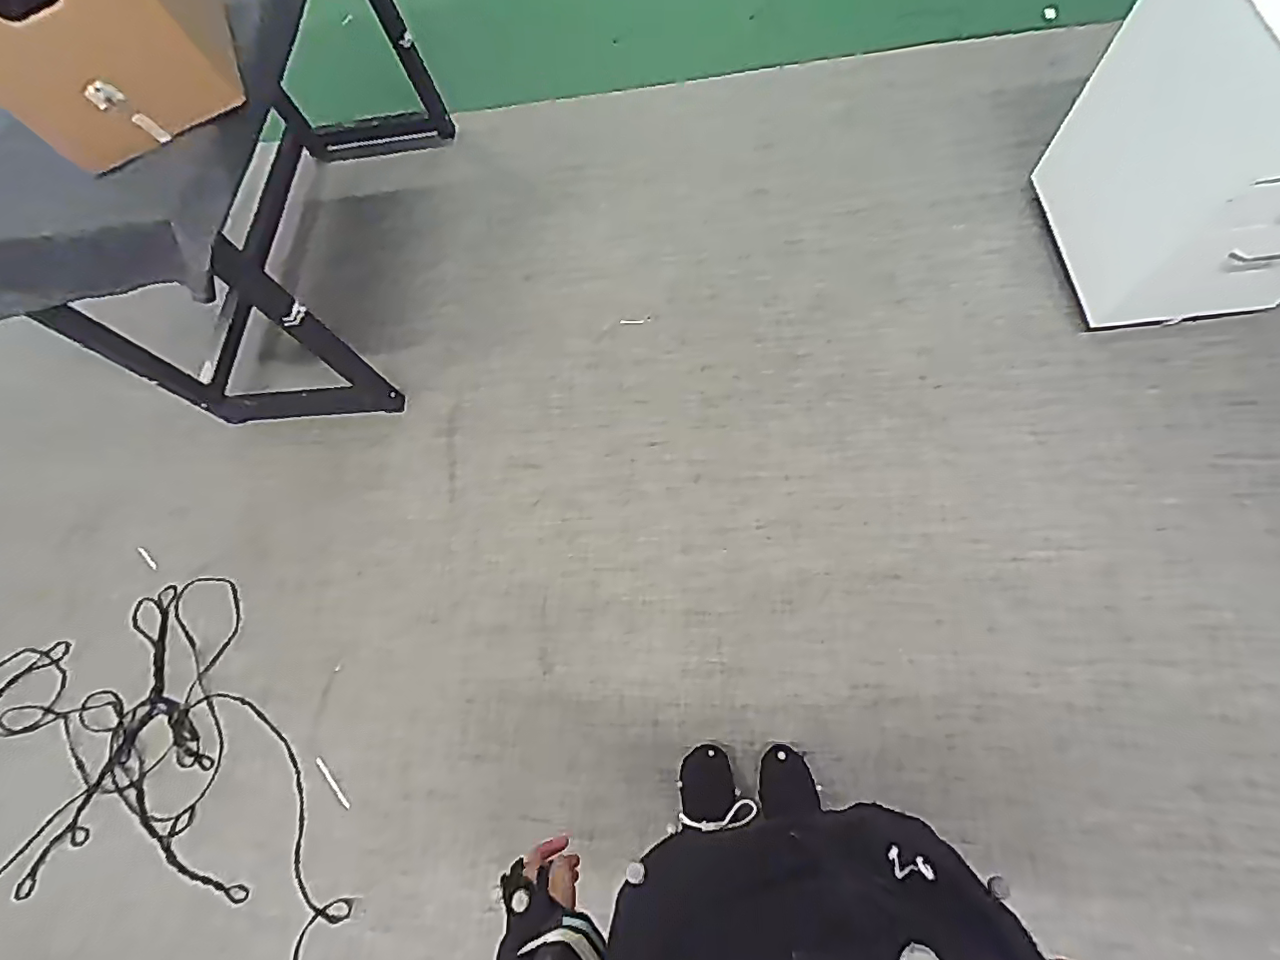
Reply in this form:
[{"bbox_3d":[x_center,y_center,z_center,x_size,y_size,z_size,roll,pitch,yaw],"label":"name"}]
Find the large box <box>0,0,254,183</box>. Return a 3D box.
[{"bbox_3d":[-0.937,-0.808,0.920,0.320,0.320,0.408,-26,65,-2],"label":"large box"}]
